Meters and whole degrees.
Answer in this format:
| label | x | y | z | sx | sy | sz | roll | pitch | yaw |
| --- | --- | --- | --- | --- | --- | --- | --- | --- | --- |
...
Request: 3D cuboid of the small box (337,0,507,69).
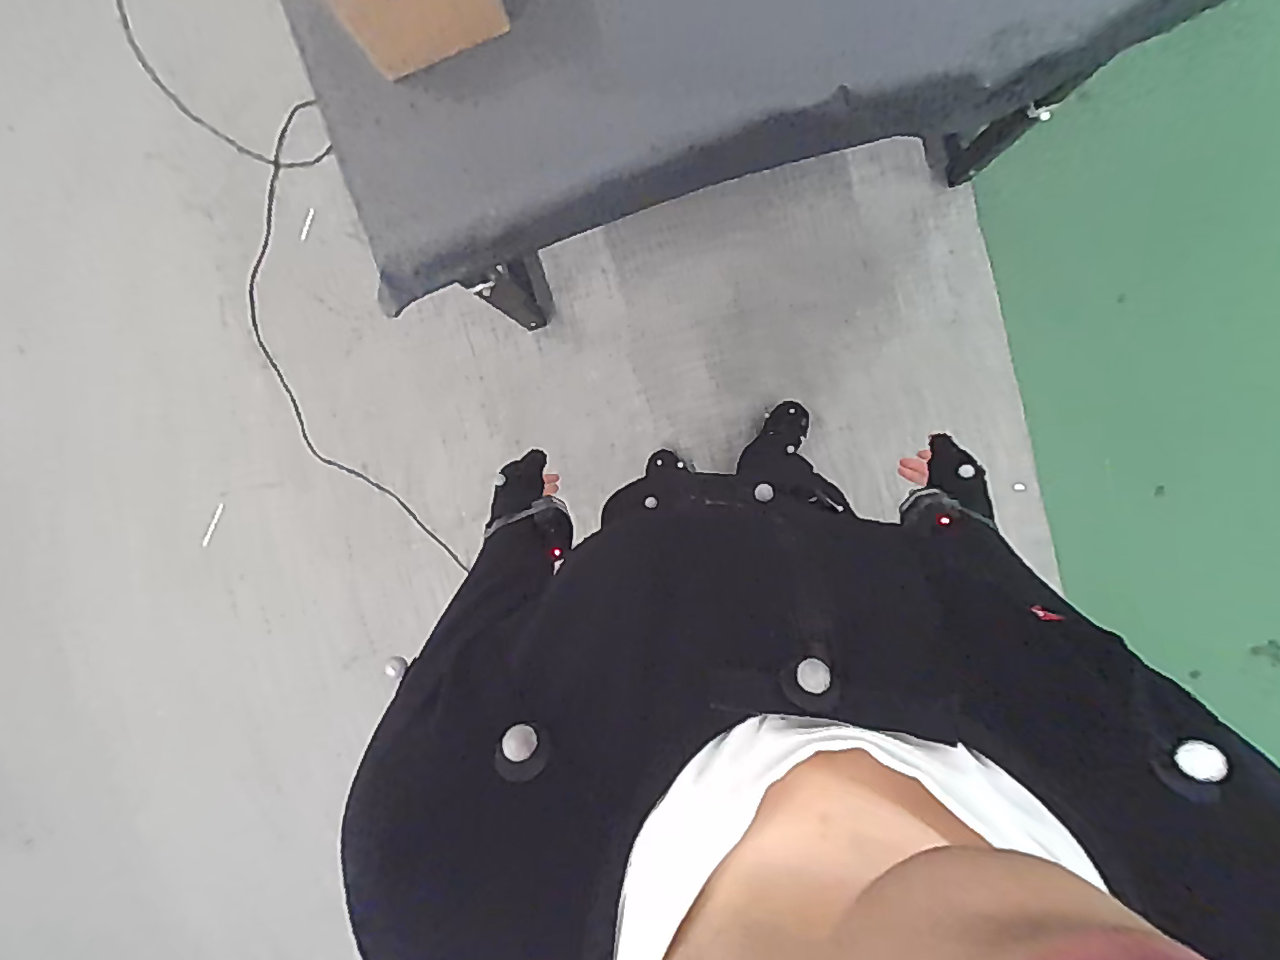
| label | x | y | z | sx | sy | sz | roll | pitch | yaw |
| --- | --- | --- | --- | --- | --- | --- | --- | --- | --- |
| small box | -0.277 | -0.620 | 0.611 | 0.179 | 0.176 | 0.168 | -19 | 94 | 4 |
